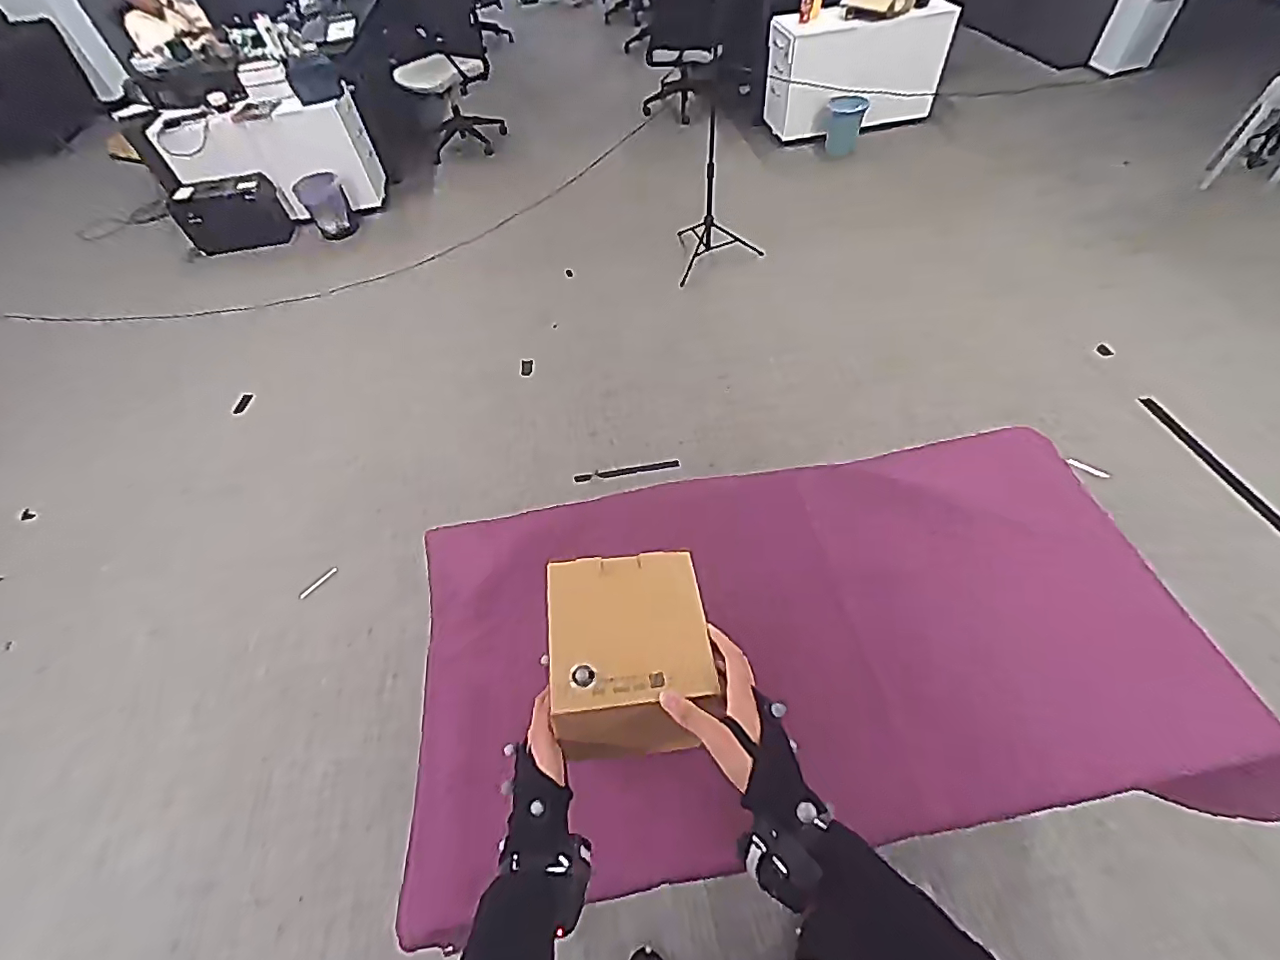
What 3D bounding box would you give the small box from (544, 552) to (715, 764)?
[{"bbox_3d":[-0.018,0.206,0.623,0.168,0.179,0.176,-4,48,-6],"label":"small box"}]
